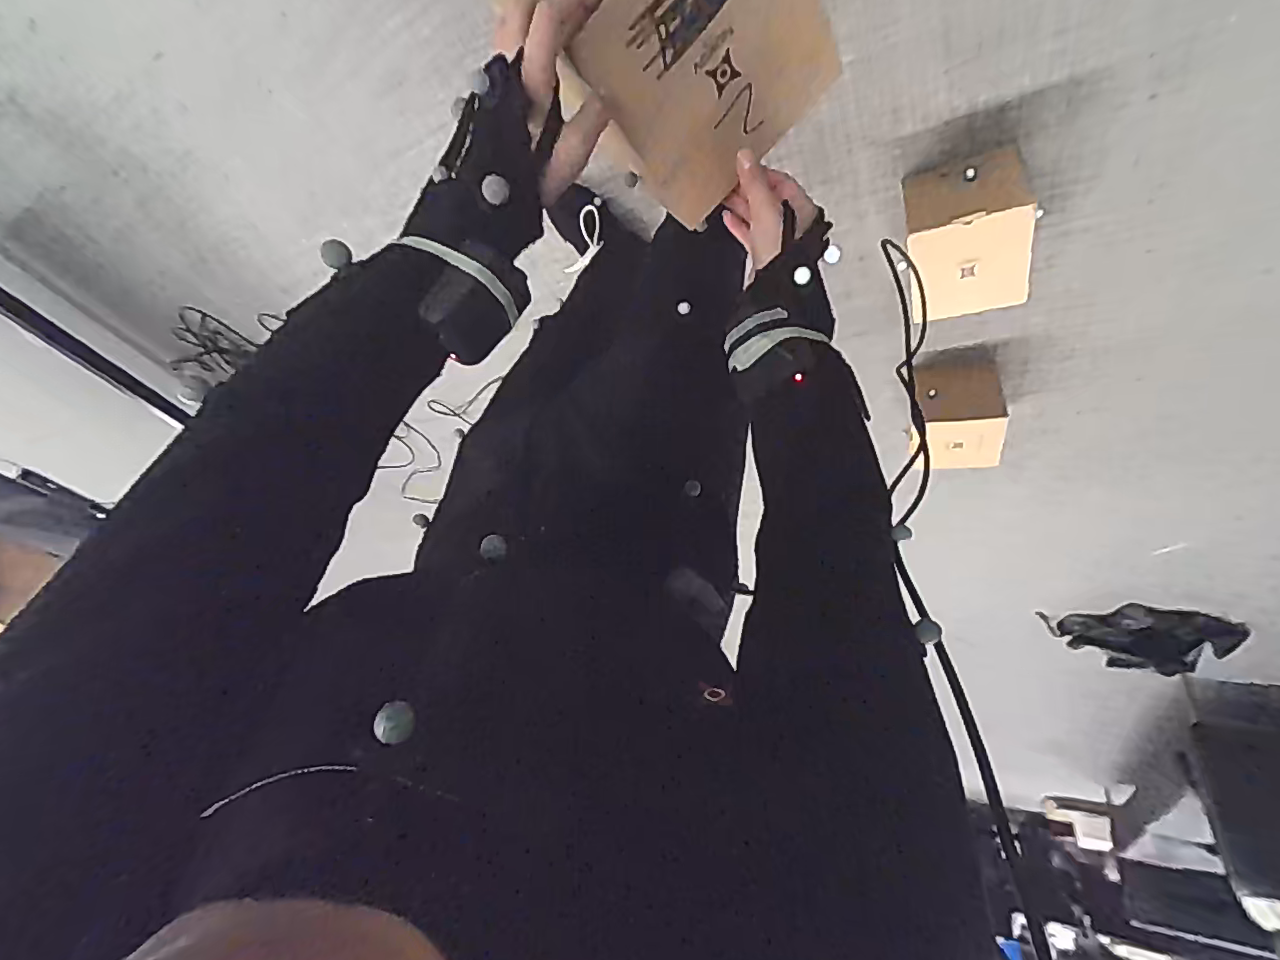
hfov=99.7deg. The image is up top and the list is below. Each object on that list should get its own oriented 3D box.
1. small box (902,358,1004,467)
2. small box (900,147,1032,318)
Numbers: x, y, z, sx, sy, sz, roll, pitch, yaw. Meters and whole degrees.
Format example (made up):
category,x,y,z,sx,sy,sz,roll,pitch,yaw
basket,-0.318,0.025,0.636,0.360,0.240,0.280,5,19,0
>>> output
category,x,y,z,sx,sy,sz,roll,pitch,yaw
small box,0.683,-0.147,1.201,0.179,0.176,0.168,-3,144,23
small box,0.526,-0.401,0.890,0.168,0.176,0.179,-5,141,27
